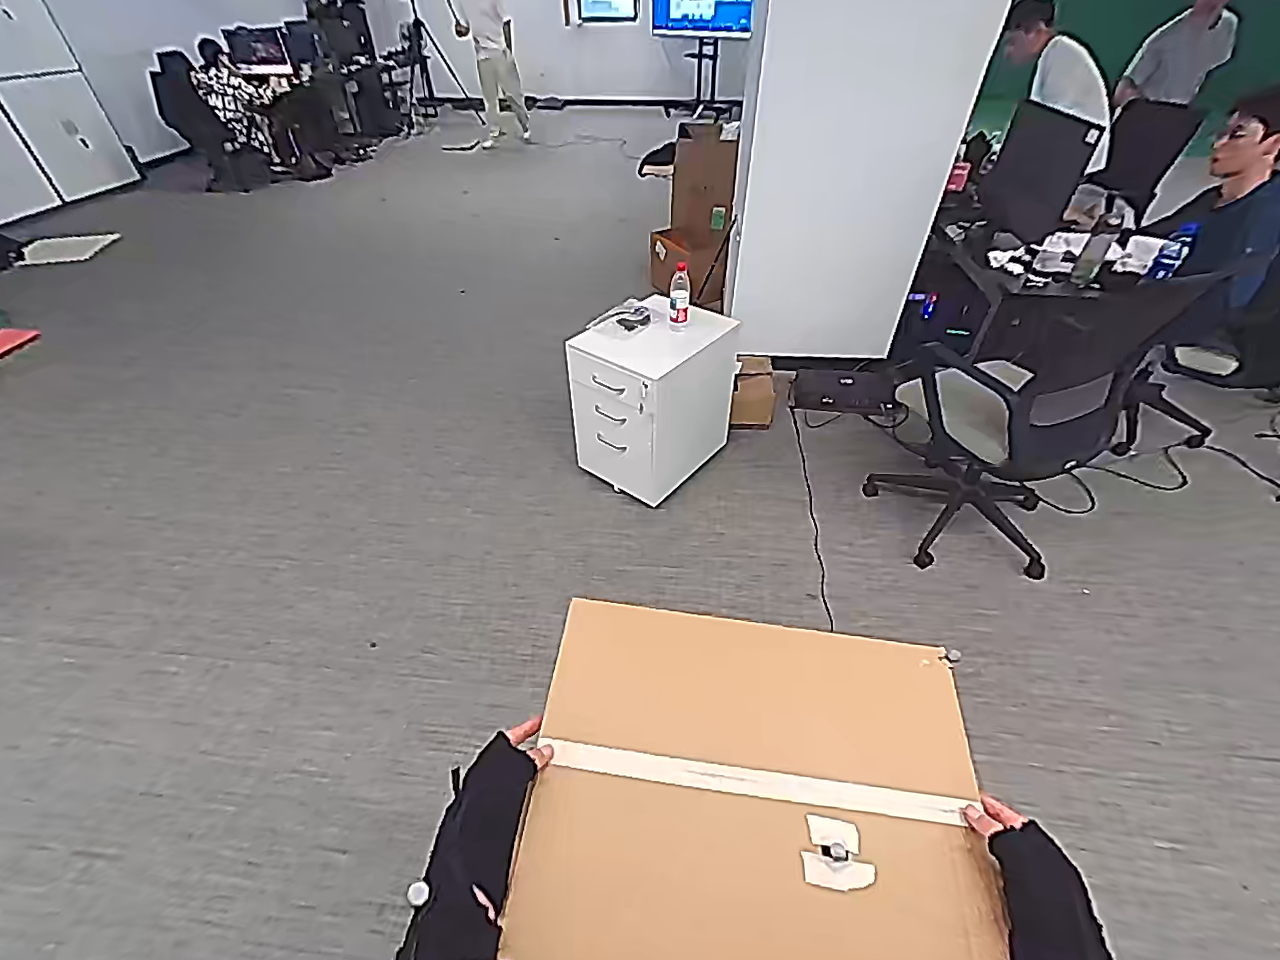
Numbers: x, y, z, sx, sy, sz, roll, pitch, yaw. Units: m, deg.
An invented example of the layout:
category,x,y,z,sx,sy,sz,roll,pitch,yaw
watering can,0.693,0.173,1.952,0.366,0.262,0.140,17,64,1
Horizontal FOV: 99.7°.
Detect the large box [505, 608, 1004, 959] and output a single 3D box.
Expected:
category,x,y,z,sx,sy,sz,roll,pitch,yaw
large box,0.101,0.376,0.620,0.408,0.320,0.320,7,52,4
